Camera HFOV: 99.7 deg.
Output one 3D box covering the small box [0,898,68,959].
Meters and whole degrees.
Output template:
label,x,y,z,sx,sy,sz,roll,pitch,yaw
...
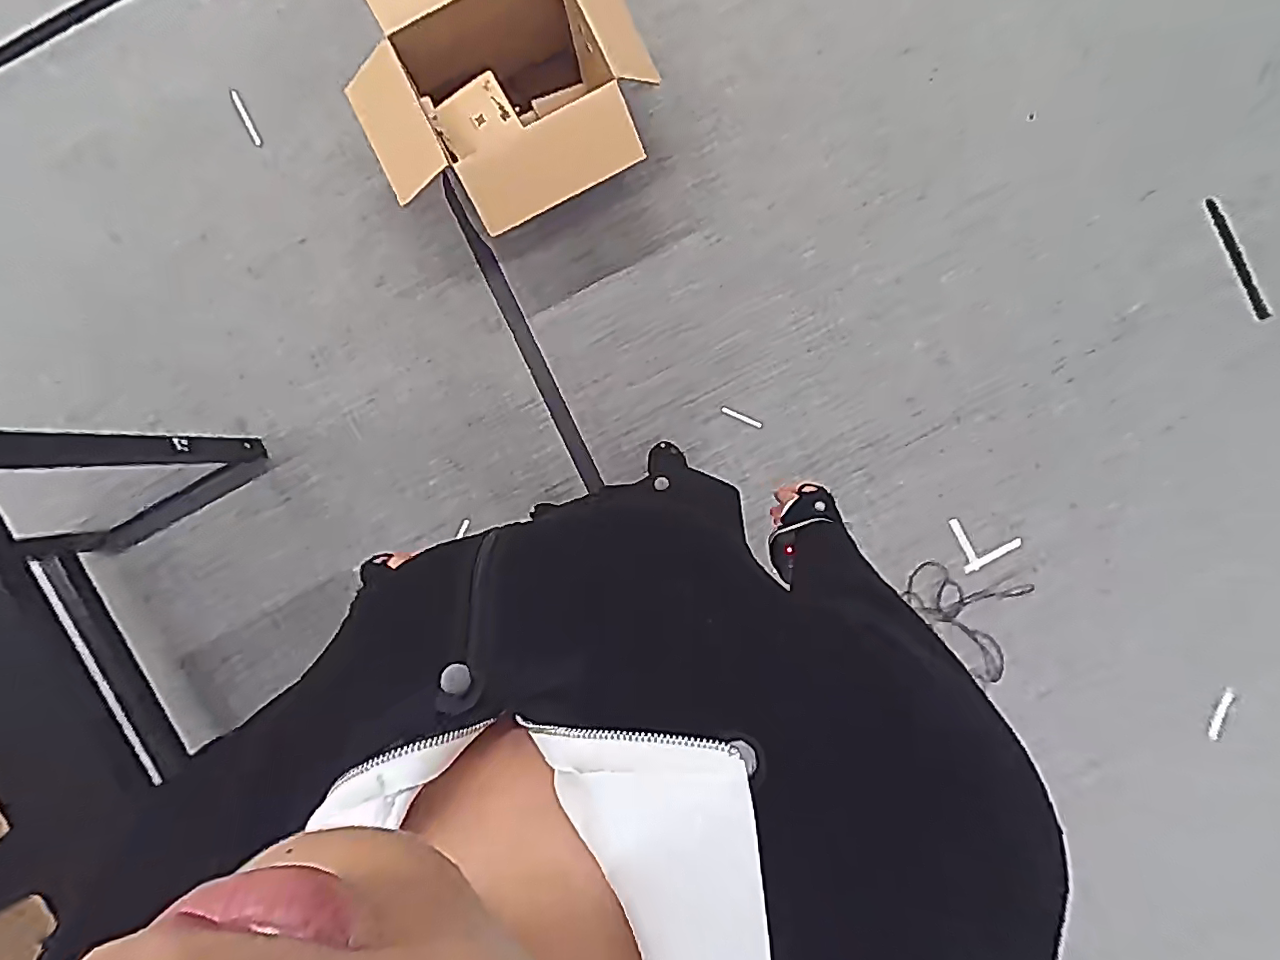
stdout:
label,x,y,z,sx,sy,sz,roll,pitch,yaw
small box,-0.926,0.715,0.719,0.179,0.176,0.168,-26,92,2
